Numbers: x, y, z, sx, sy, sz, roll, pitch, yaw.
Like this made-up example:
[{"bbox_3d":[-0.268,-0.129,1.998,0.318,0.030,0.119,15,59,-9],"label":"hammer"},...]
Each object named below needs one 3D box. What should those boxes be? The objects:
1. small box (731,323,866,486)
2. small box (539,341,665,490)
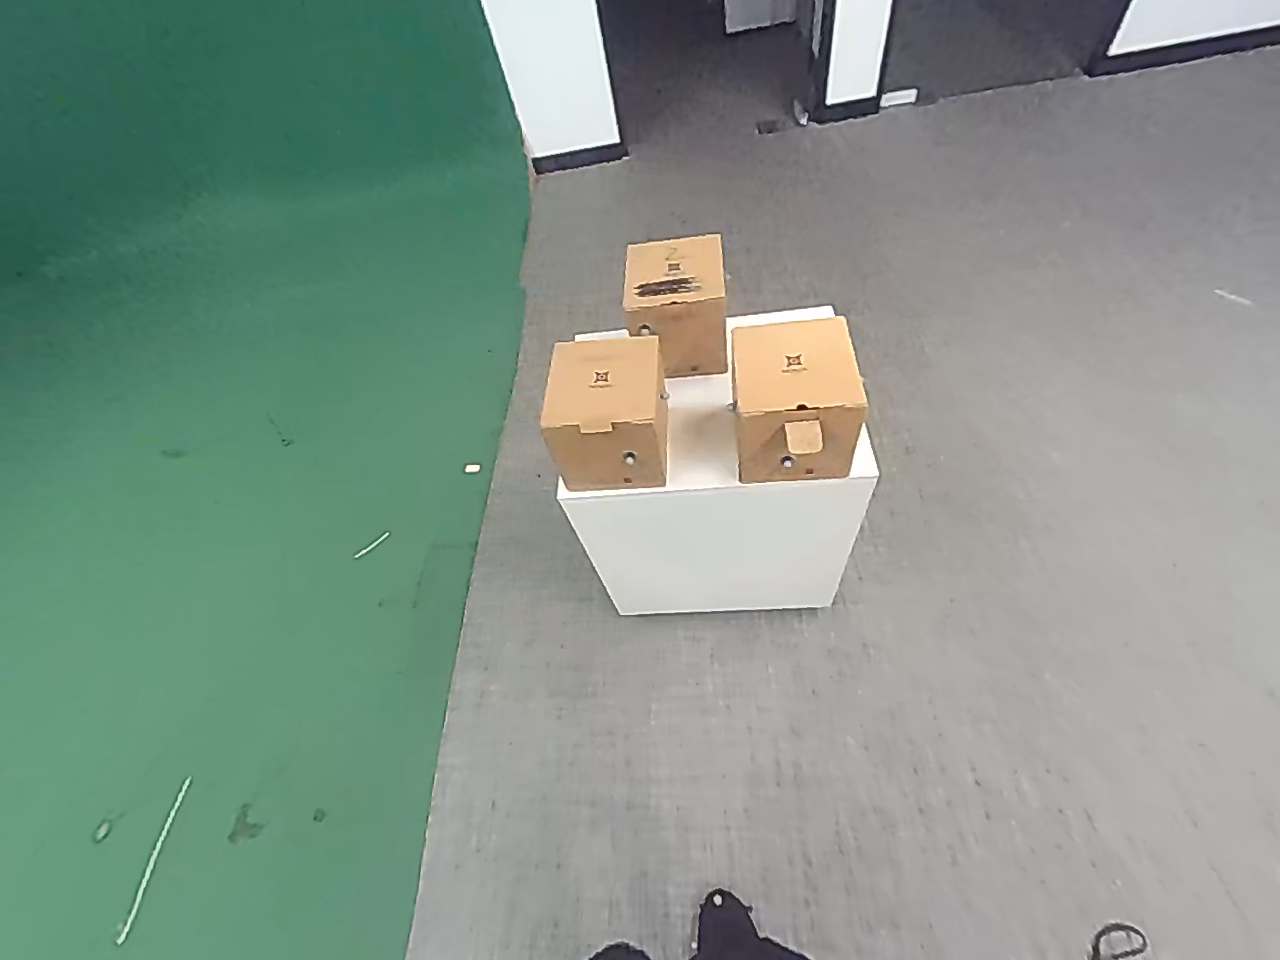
[{"bbox_3d":[0.224,-0.109,0.817,0.168,0.176,0.179,-4,55,8],"label":"small box"},{"bbox_3d":[-0.048,-0.093,0.856,0.168,0.176,0.179,-2,54,7],"label":"small box"}]
